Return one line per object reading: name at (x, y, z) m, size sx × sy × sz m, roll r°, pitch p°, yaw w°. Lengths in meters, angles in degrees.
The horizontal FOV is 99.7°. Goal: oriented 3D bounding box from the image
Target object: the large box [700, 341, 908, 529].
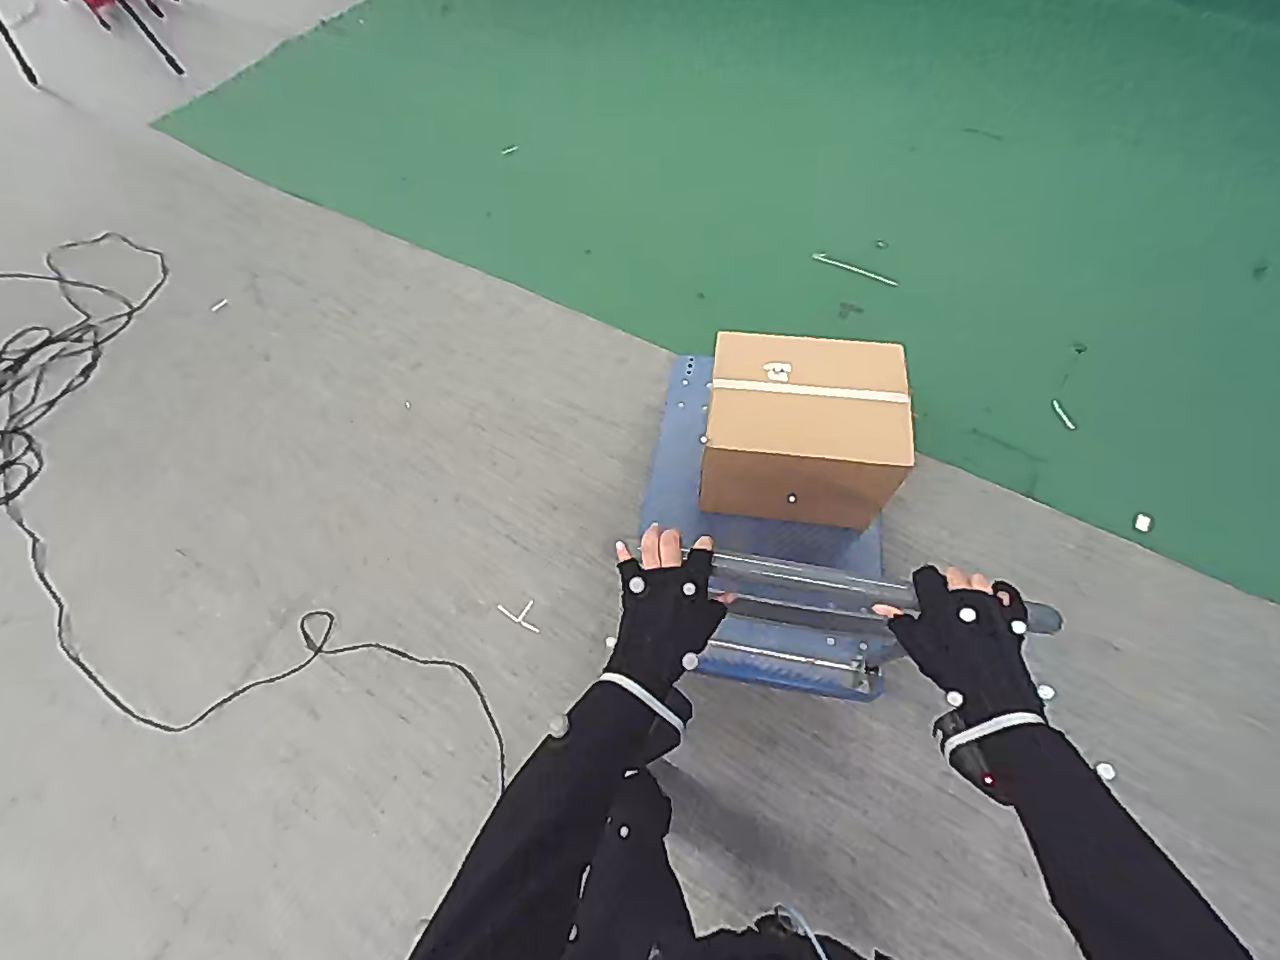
large box at (0.357, -0.096, 1.267) m, size 0.408 × 0.320 × 0.320 m, roll 6°, pitch 61°, yaw 8°
